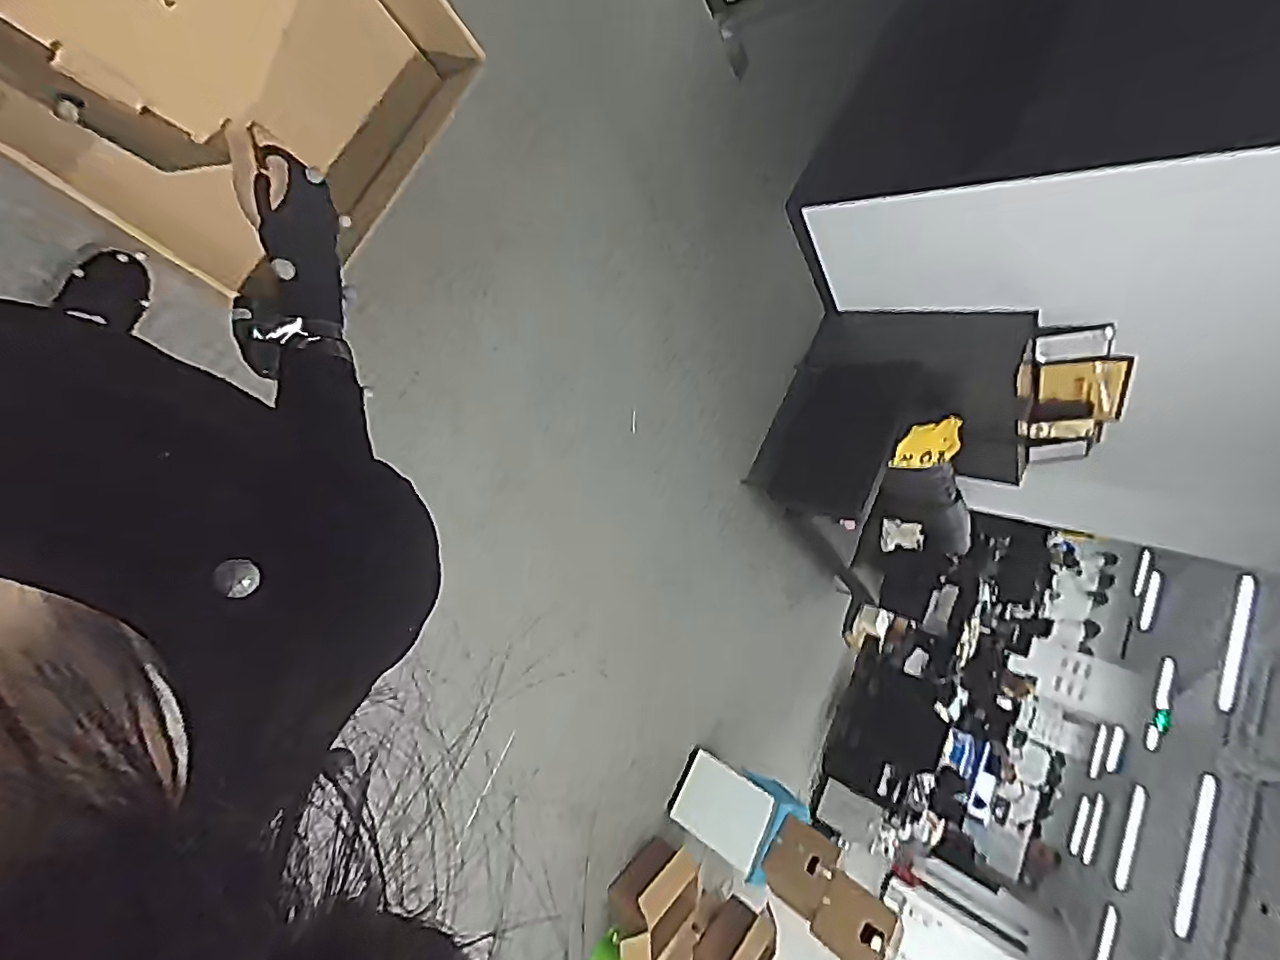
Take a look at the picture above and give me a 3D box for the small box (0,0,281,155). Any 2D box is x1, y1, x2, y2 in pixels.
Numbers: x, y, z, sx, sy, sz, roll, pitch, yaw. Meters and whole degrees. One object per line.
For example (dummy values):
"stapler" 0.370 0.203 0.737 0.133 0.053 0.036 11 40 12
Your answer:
"small box" -0.410 -0.377 0.406 0.168 0.176 0.179 21 89 -58
